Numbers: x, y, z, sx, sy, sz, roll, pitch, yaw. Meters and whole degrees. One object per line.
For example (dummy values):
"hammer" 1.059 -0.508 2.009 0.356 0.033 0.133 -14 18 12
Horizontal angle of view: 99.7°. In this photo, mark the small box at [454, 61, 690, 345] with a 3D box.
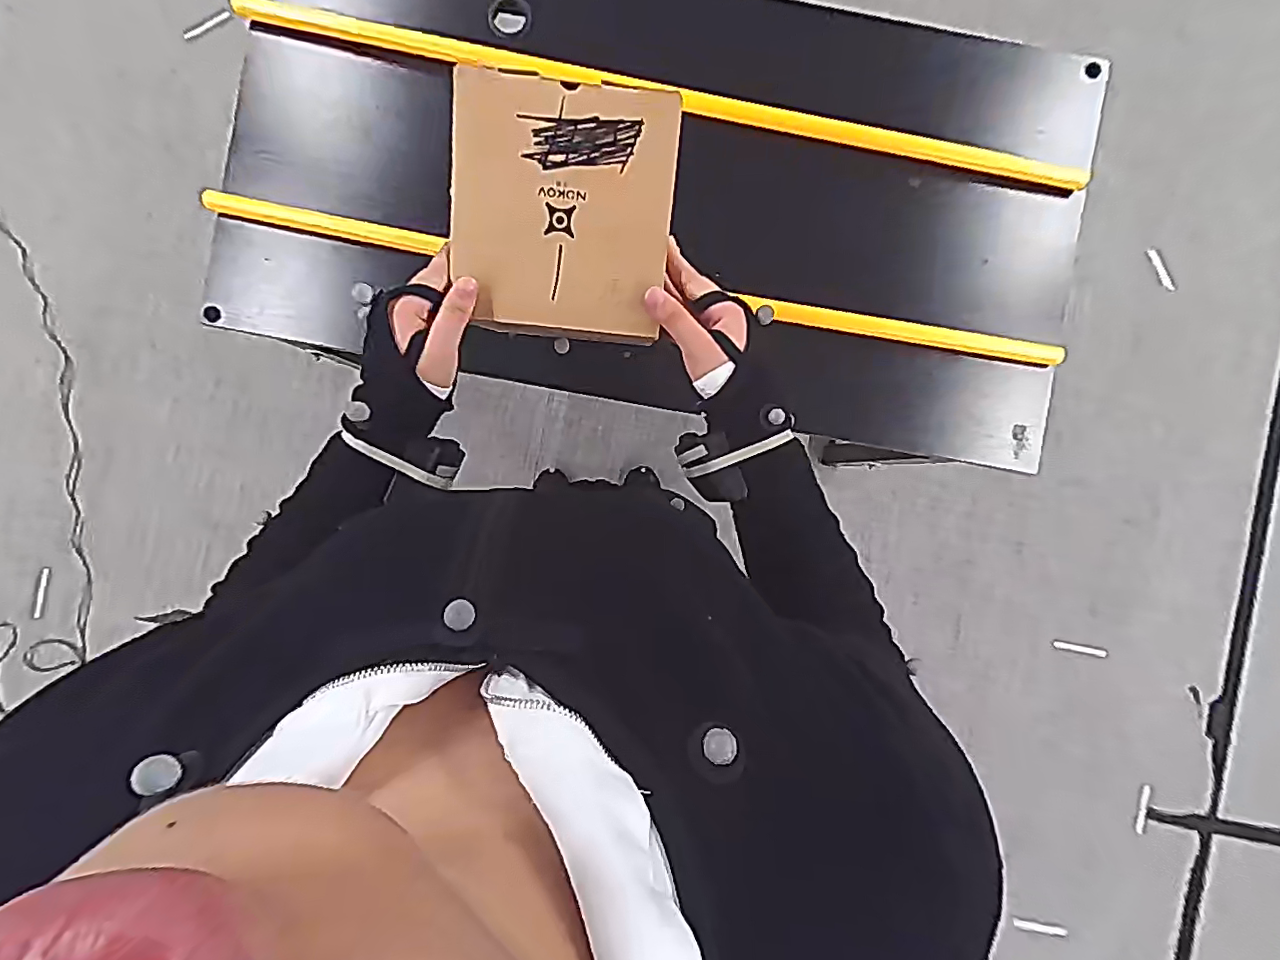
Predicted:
"small box" -0.056 -0.222 0.484 0.168 0.176 0.179 6 102 -3
